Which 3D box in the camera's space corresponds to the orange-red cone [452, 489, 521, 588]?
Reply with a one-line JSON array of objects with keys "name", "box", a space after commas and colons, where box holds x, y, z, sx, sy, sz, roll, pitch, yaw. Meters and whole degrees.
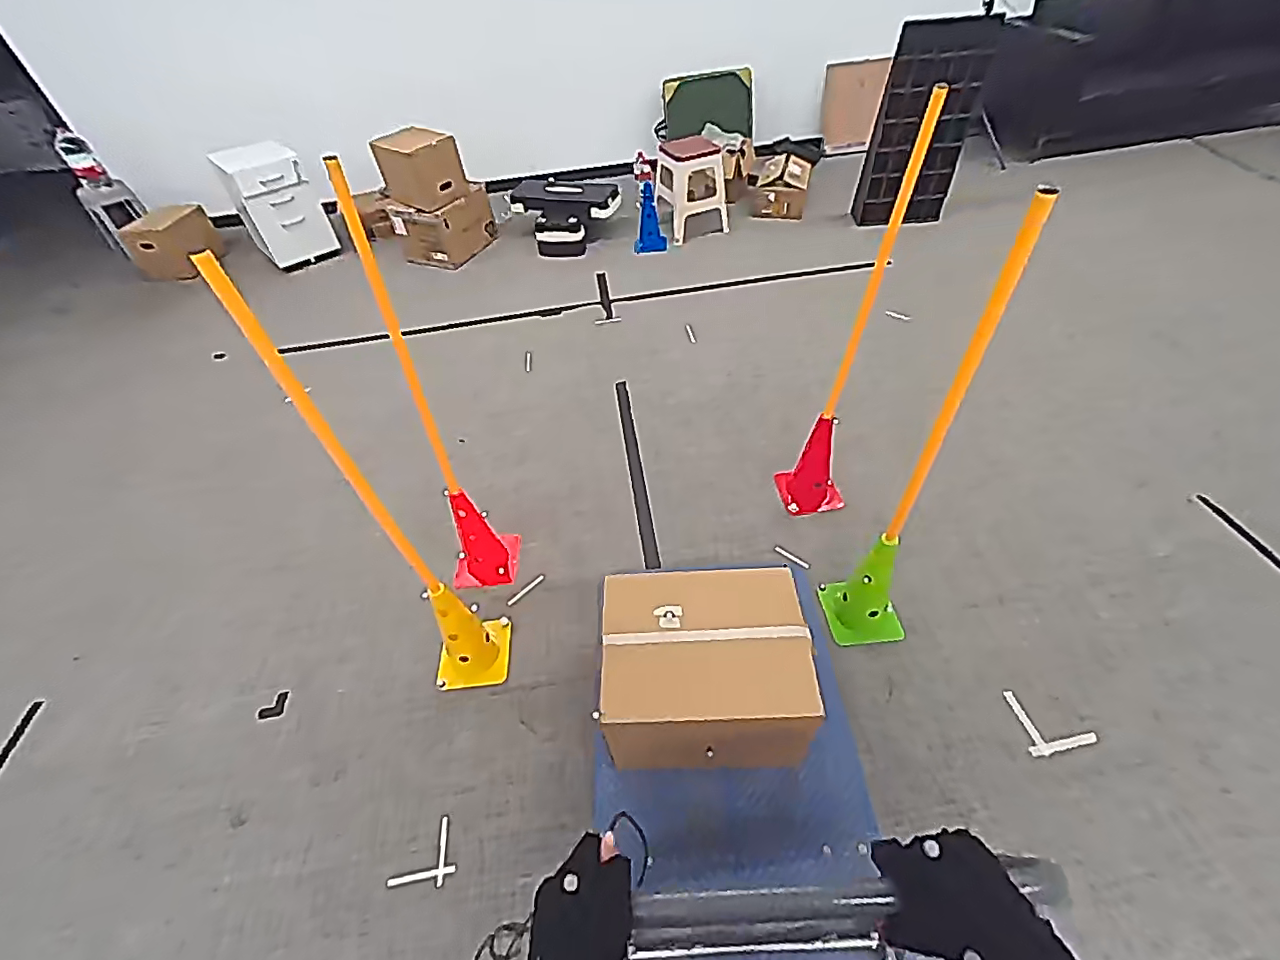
[{"name": "orange-red cone", "box": [-0.517, 0.159, 1.694, 0.198, 0.360, 0.199, -3, 46, 2]}]

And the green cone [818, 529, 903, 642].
[{"name": "green cone", "box": [0.635, 0.262, 1.470, 0.202, 0.368, 0.200, -6, 47, -1]}]

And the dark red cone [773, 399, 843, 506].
[{"name": "dark red cone", "box": [0.583, -0.100, 1.789, 0.201, 0.394, 0.202, -8, 47, -4]}]

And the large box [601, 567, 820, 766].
[{"name": "large box", "box": [0.138, 0.416, 1.185, 0.408, 0.320, 0.320, -4, 47, 3]}]
